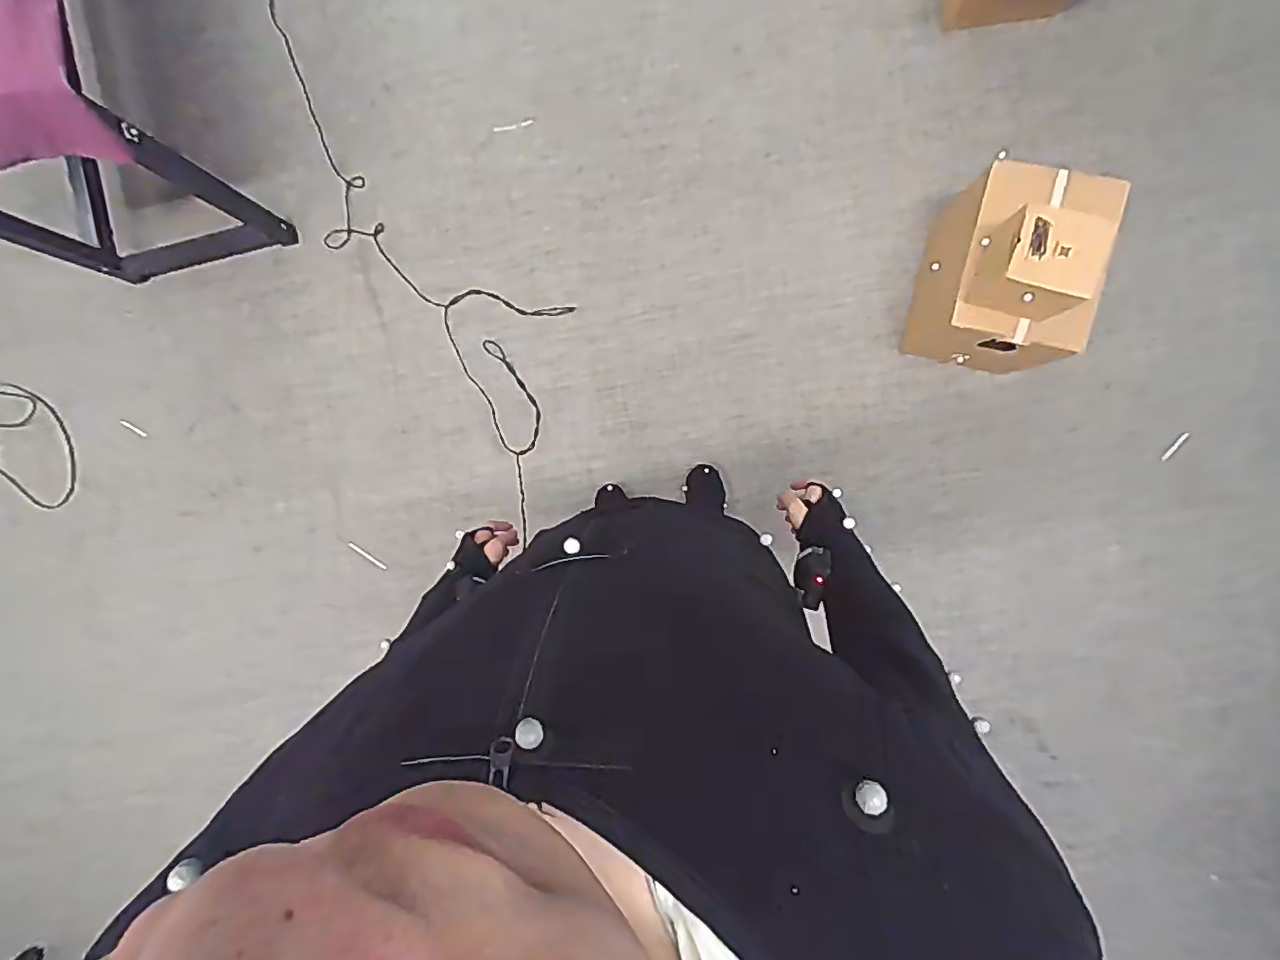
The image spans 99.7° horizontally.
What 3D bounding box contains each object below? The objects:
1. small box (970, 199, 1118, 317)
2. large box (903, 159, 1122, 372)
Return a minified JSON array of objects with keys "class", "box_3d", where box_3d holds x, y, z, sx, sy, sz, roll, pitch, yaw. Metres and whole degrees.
[{"class":"small box","box_3d":[0.857,-0.470,1.169,0.179,0.176,0.168,17,93,5]},{"class":"large box","box_3d":[0.935,-0.529,1.409,0.320,0.320,0.408,13,92,3]}]
